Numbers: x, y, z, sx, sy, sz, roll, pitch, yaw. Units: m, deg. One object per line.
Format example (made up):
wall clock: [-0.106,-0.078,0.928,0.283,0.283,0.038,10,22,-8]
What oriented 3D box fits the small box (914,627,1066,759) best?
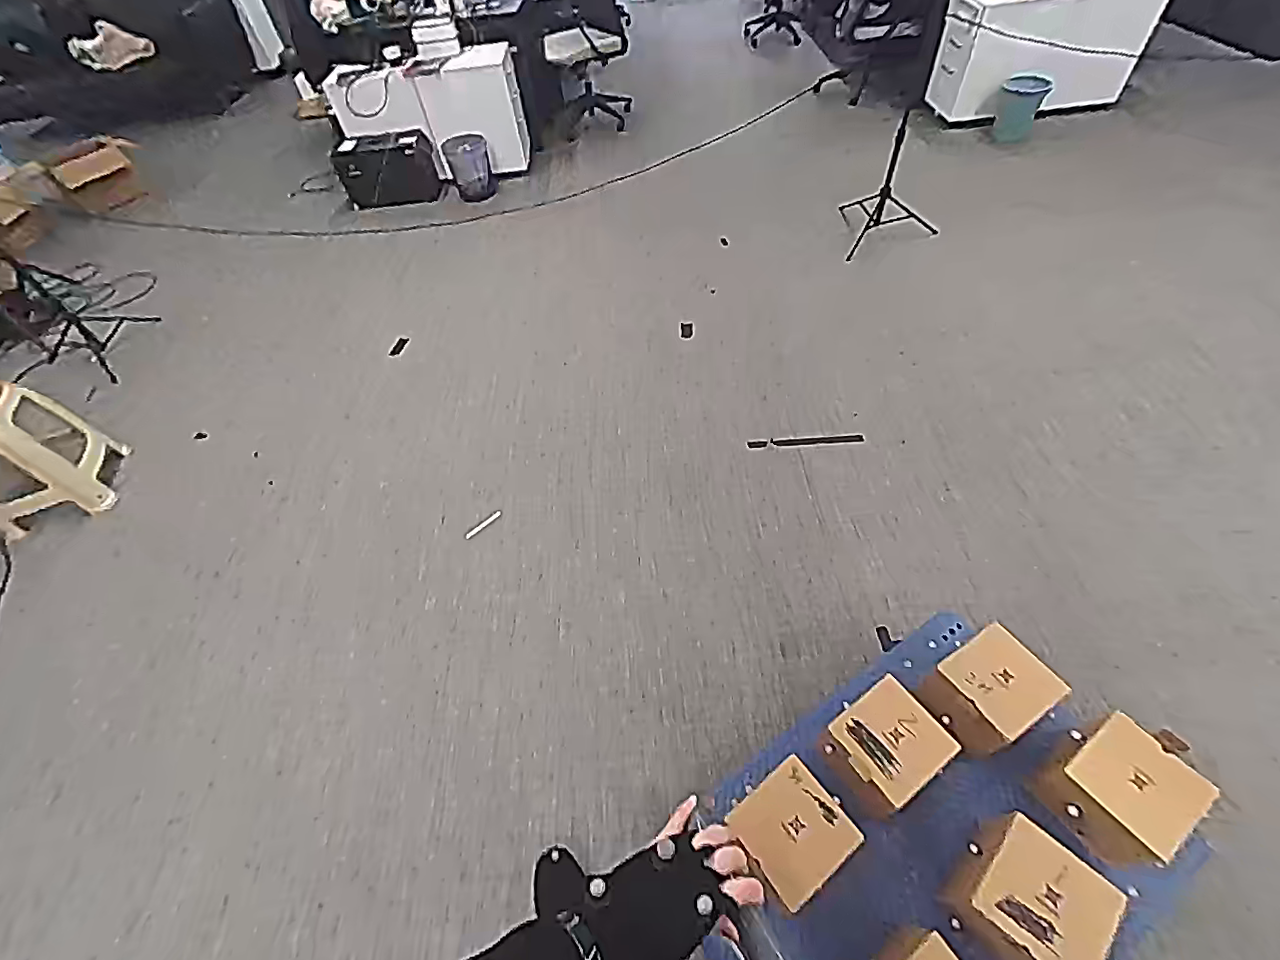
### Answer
small box: [0.702,0.439,1.109,0.179,0.176,0.168,-28,54,-14]

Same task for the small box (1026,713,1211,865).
small box: [0.856,0.571,0.992,0.179,0.176,0.168,-31,55,-17]

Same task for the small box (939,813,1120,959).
small box: [0.636,0.707,0.908,0.179,0.176,0.168,-39,58,-23]

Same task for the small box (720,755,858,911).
small box: [0.263,0.647,0.993,0.179,0.176,0.168,-32,57,-18]

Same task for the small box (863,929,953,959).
small box: [0.426,0.837,0.831,0.179,0.176,0.168,-28,55,-16]
